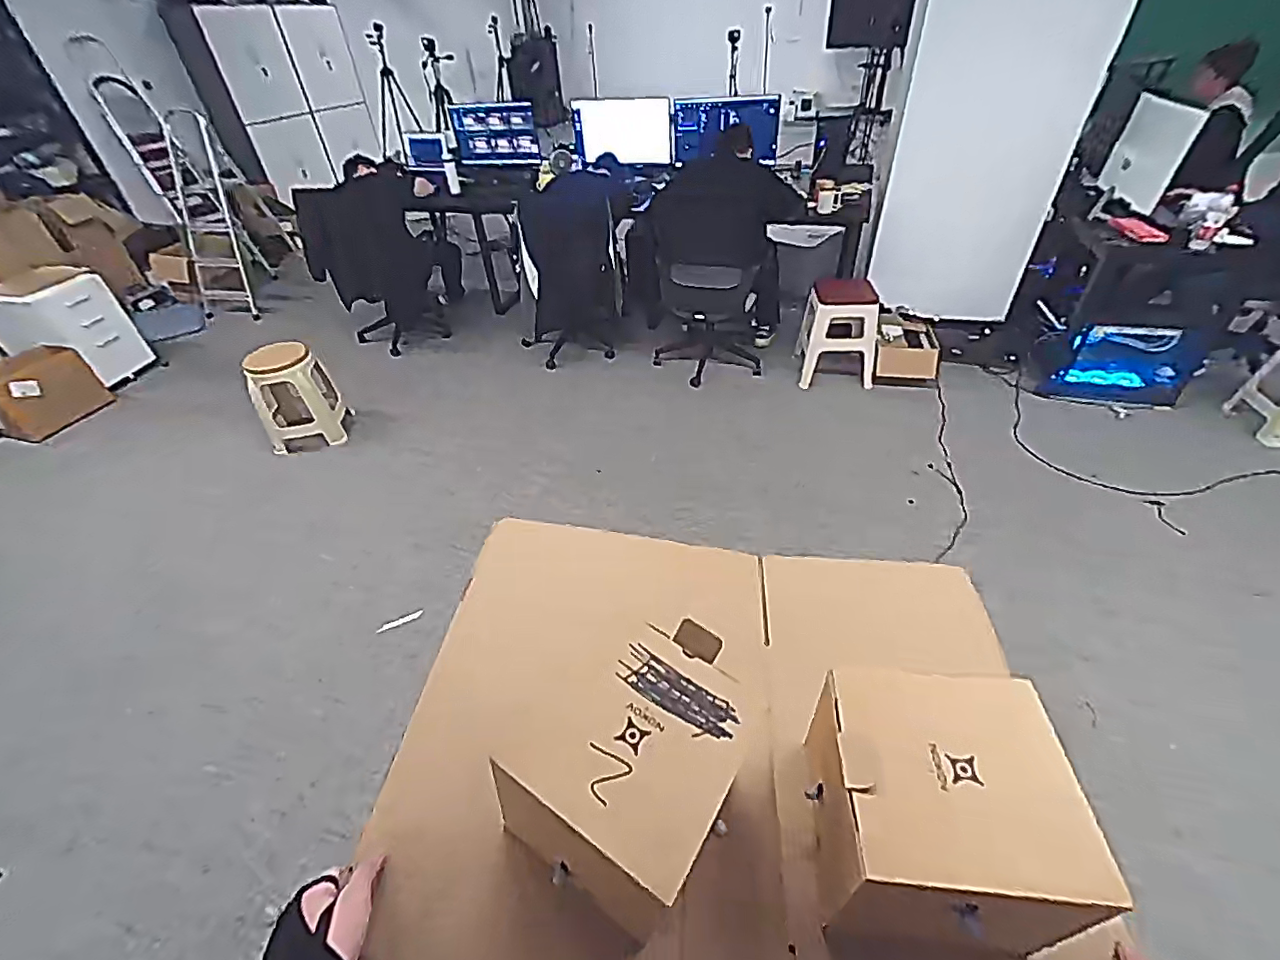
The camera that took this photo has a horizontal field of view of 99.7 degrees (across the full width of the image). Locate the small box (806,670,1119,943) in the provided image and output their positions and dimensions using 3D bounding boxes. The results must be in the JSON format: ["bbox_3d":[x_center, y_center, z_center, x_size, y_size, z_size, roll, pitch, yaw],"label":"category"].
[{"bbox_3d":[0.261,0.298,0.495,0.179,0.176,0.168,1,41,7],"label":"small box"}]
